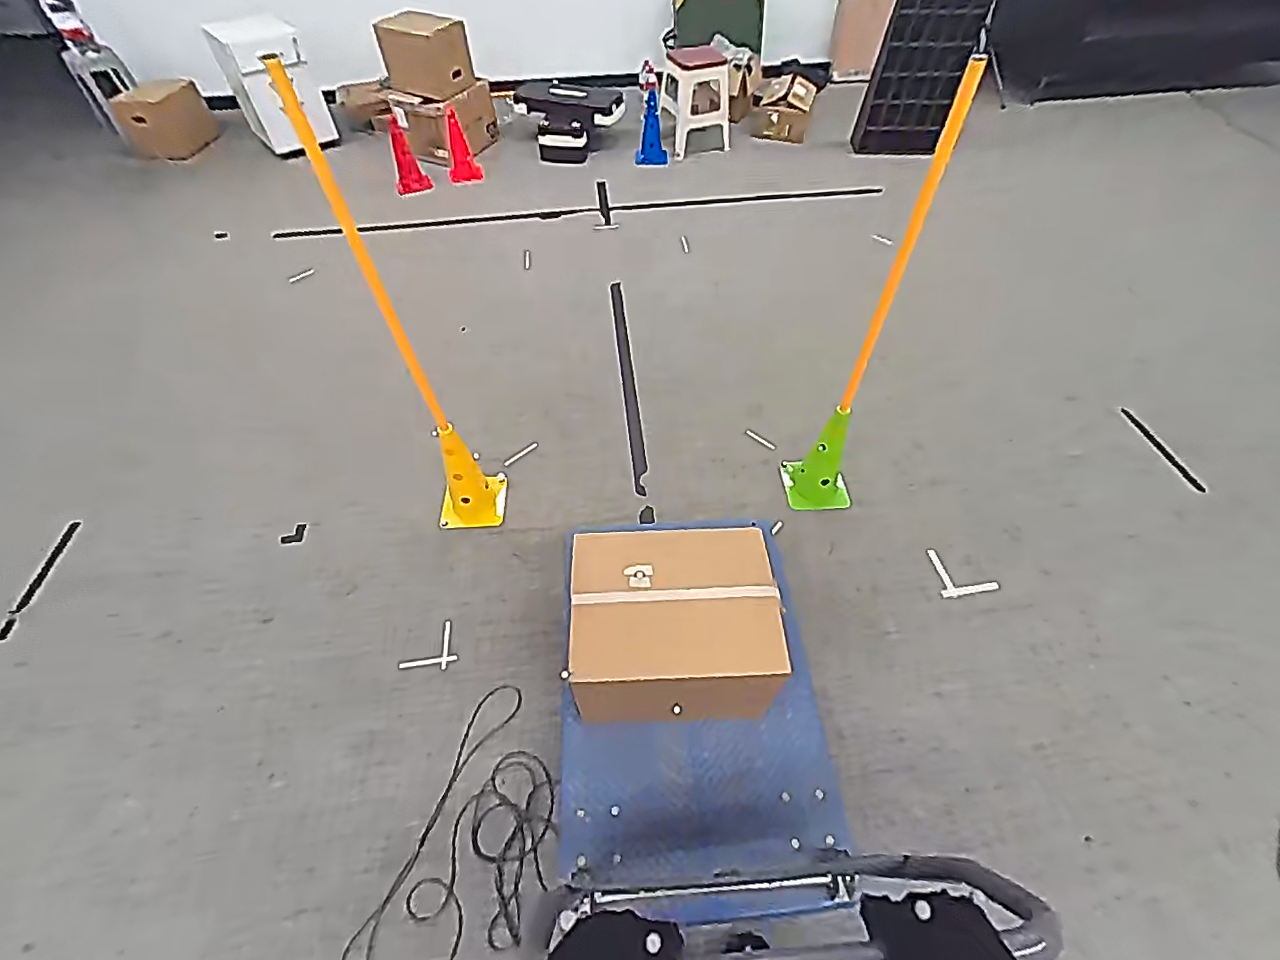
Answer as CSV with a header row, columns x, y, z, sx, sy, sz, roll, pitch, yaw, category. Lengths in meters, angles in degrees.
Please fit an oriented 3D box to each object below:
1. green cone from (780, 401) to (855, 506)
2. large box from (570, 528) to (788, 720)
x,y,z,sx,sy,sz,roll,pitch,yaw,category
0.588,-0.099,1.685,0.202,0.368,0.200,-2,52,-2,green cone
0.069,0.323,1.183,0.408,0.320,0.320,-2,52,0,large box
